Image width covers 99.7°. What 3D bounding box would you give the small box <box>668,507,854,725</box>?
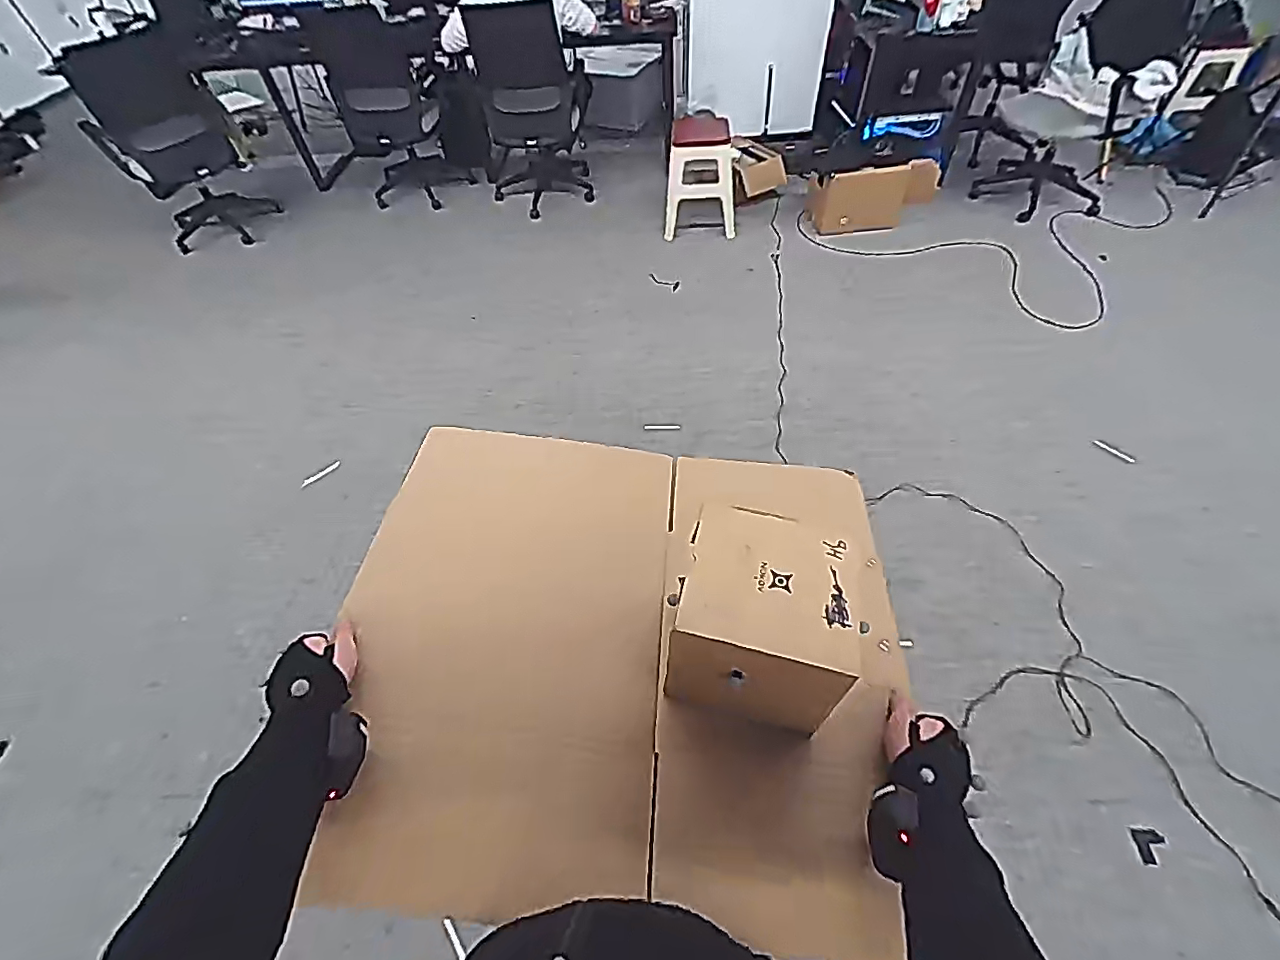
[{"bbox_3d":[0.132,0.158,0.619,0.179,0.176,0.168,11,49,10],"label":"small box"}]
